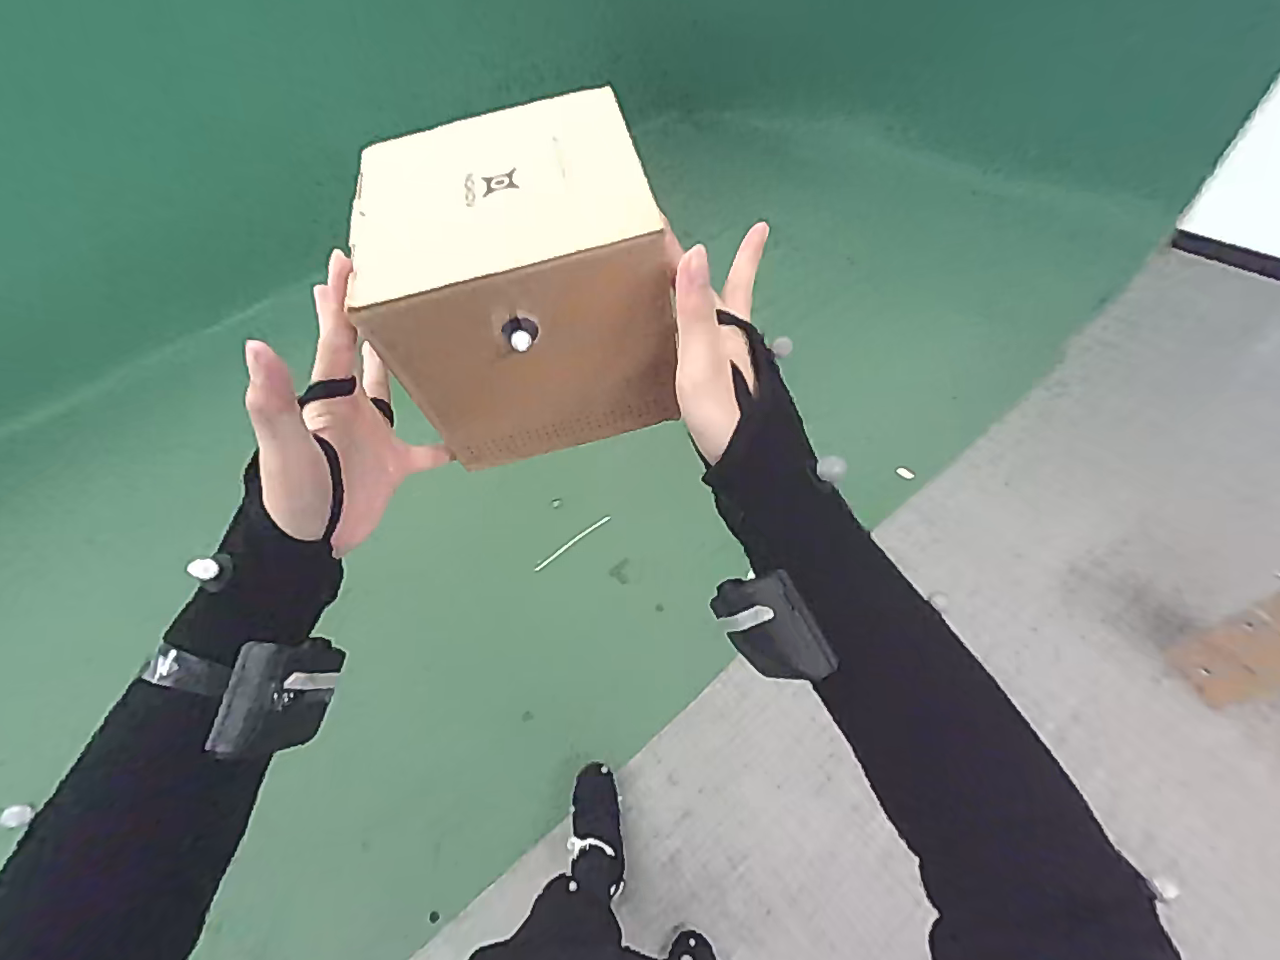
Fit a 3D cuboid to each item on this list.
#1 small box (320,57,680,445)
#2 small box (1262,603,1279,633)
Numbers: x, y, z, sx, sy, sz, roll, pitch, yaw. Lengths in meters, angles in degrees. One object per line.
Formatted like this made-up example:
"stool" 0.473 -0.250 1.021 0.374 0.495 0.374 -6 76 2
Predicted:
"small box" -0.076 -0.143 0.374 0.179 0.176 0.168 -11 60 2
"small box" 1.424 0.278 1.058 0.168 0.176 0.179 -22 54 -9
